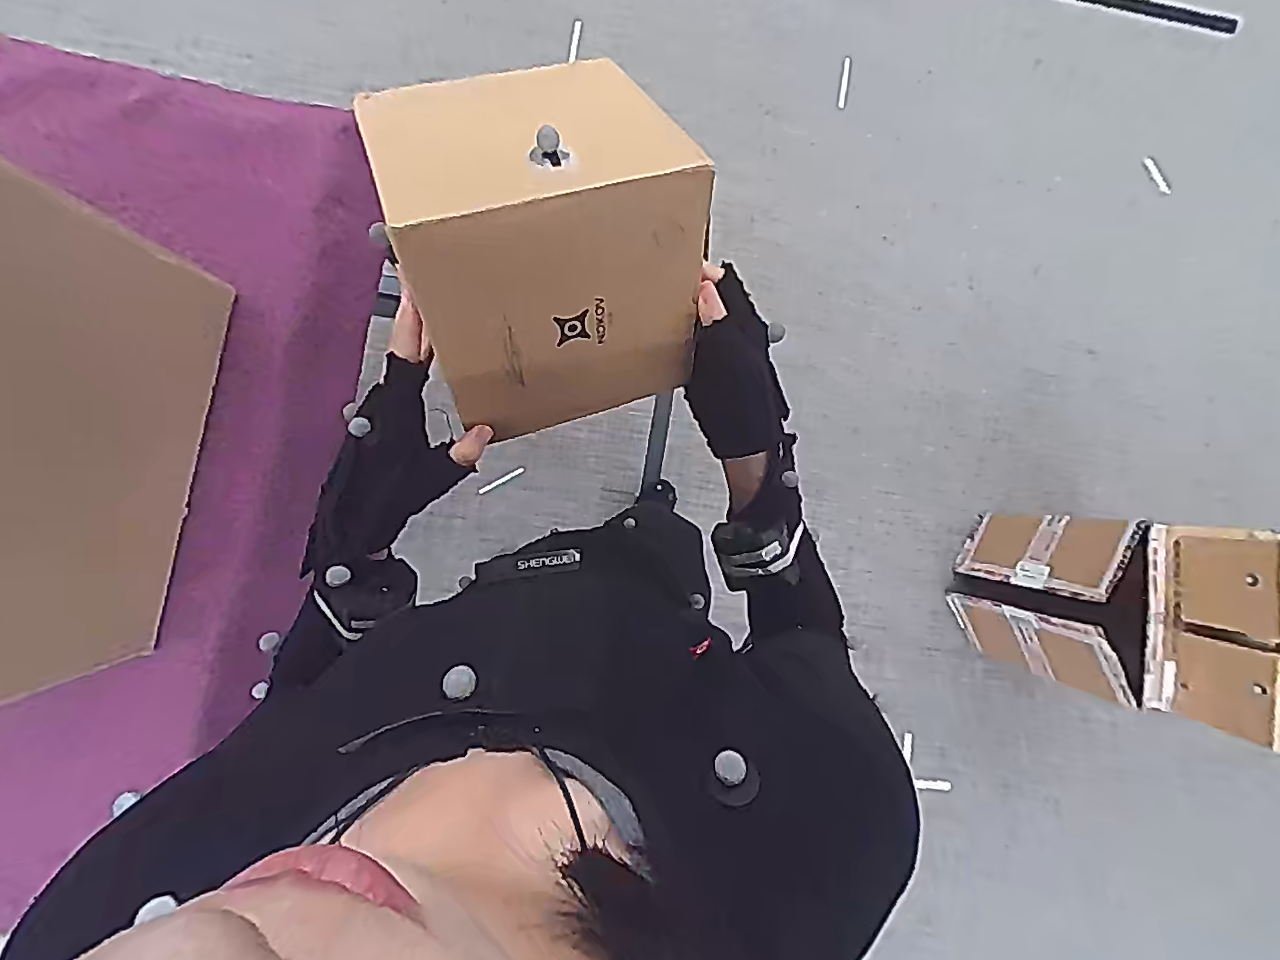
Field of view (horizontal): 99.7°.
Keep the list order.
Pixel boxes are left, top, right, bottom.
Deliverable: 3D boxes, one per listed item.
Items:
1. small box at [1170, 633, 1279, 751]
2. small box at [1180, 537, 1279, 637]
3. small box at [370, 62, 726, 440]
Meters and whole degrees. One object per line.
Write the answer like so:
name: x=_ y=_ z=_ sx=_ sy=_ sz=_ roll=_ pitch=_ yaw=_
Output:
small box: x=1.178 y=0.397 z=1.026 sx=0.179 sy=0.176 sz=0.168 roll=5 pitch=90 yaw=-5
small box: x=1.190 y=0.199 z=1.033 sx=0.168 sy=0.176 sz=0.179 roll=2 pitch=87 yaw=-5
small box: x=-0.064 y=-0.161 z=0.377 sx=0.179 sy=0.168 sz=0.176 roll=-18 pitch=55 yaw=-12
